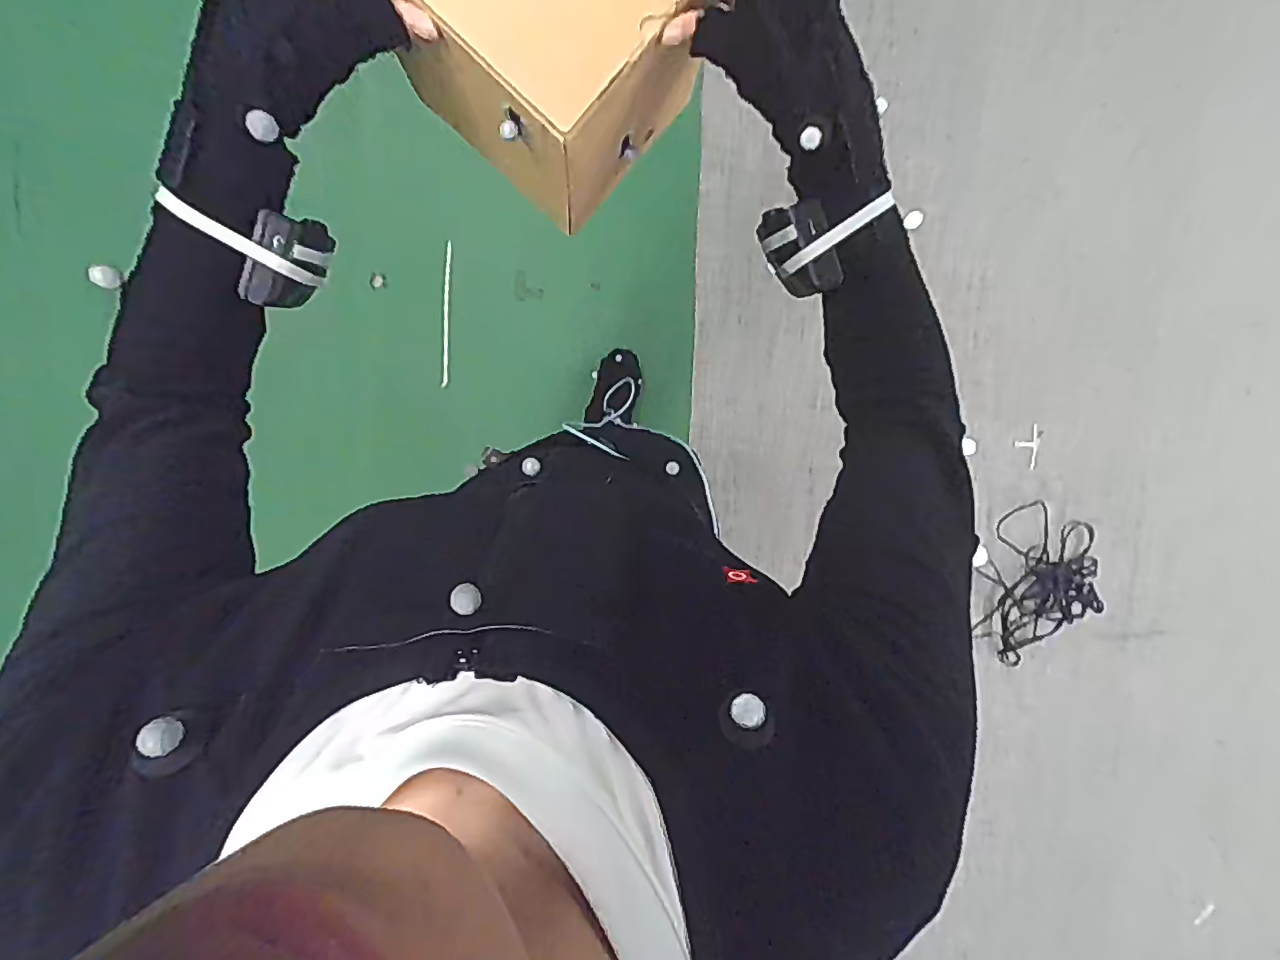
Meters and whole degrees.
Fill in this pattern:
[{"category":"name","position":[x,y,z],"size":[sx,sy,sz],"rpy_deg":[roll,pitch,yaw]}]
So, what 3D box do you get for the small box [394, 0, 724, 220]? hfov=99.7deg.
[{"category":"small box","position":[-0.062,-0.334,0.399],"size":[0.179,0.176,0.168],"rpy_deg":[41,90,-9]}]
